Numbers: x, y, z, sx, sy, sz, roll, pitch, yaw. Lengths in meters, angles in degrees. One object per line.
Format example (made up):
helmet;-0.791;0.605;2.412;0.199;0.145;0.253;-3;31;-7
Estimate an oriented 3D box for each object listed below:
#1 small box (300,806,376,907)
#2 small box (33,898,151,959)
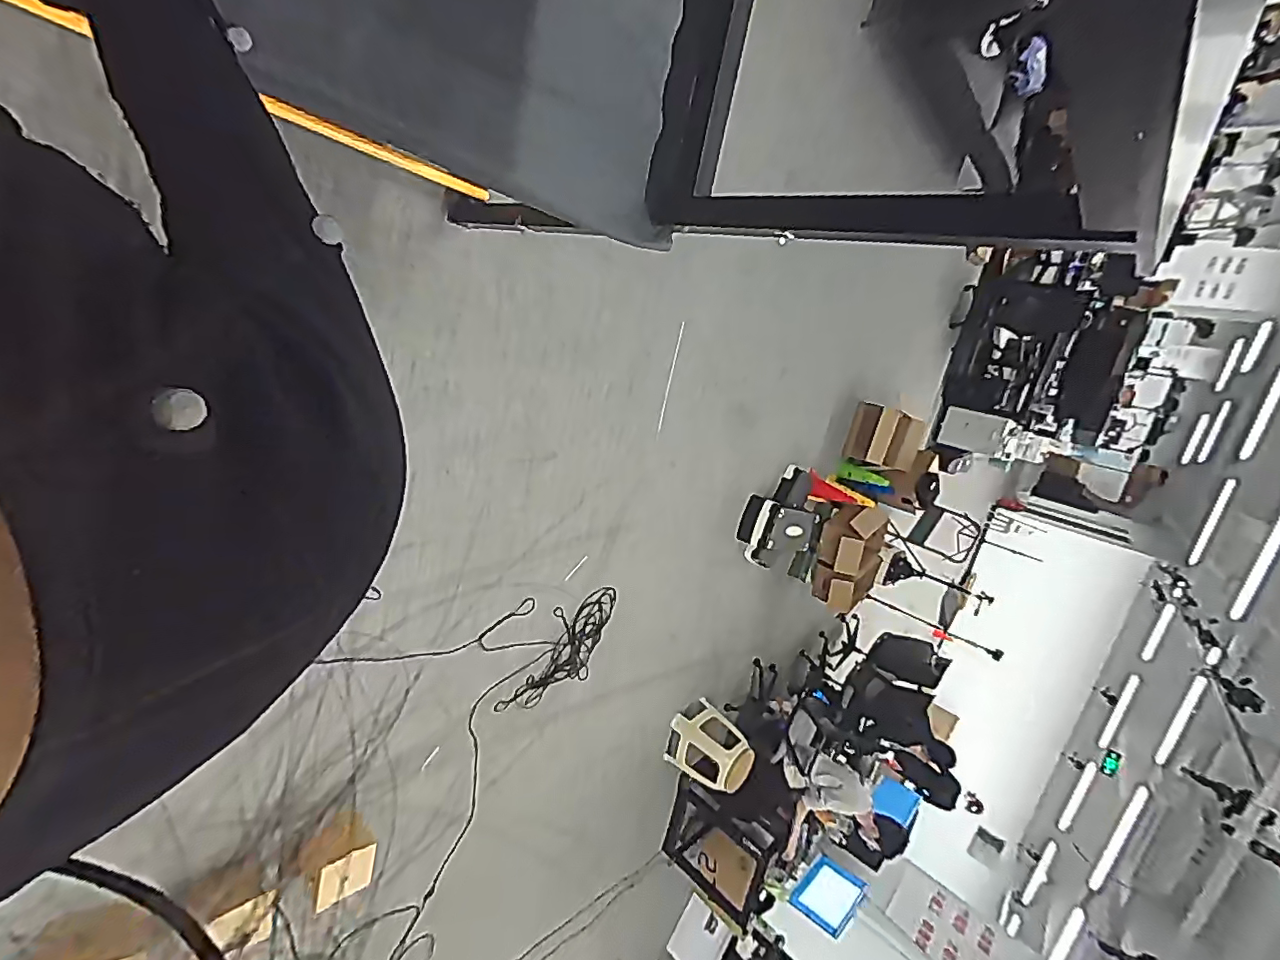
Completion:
small box;-0.988;1.217;1.762;0.168;0.176;0.179;-1;109;-49
small box;-1.346;1.177;1.319;0.179;0.176;0.168;21;91;-51
